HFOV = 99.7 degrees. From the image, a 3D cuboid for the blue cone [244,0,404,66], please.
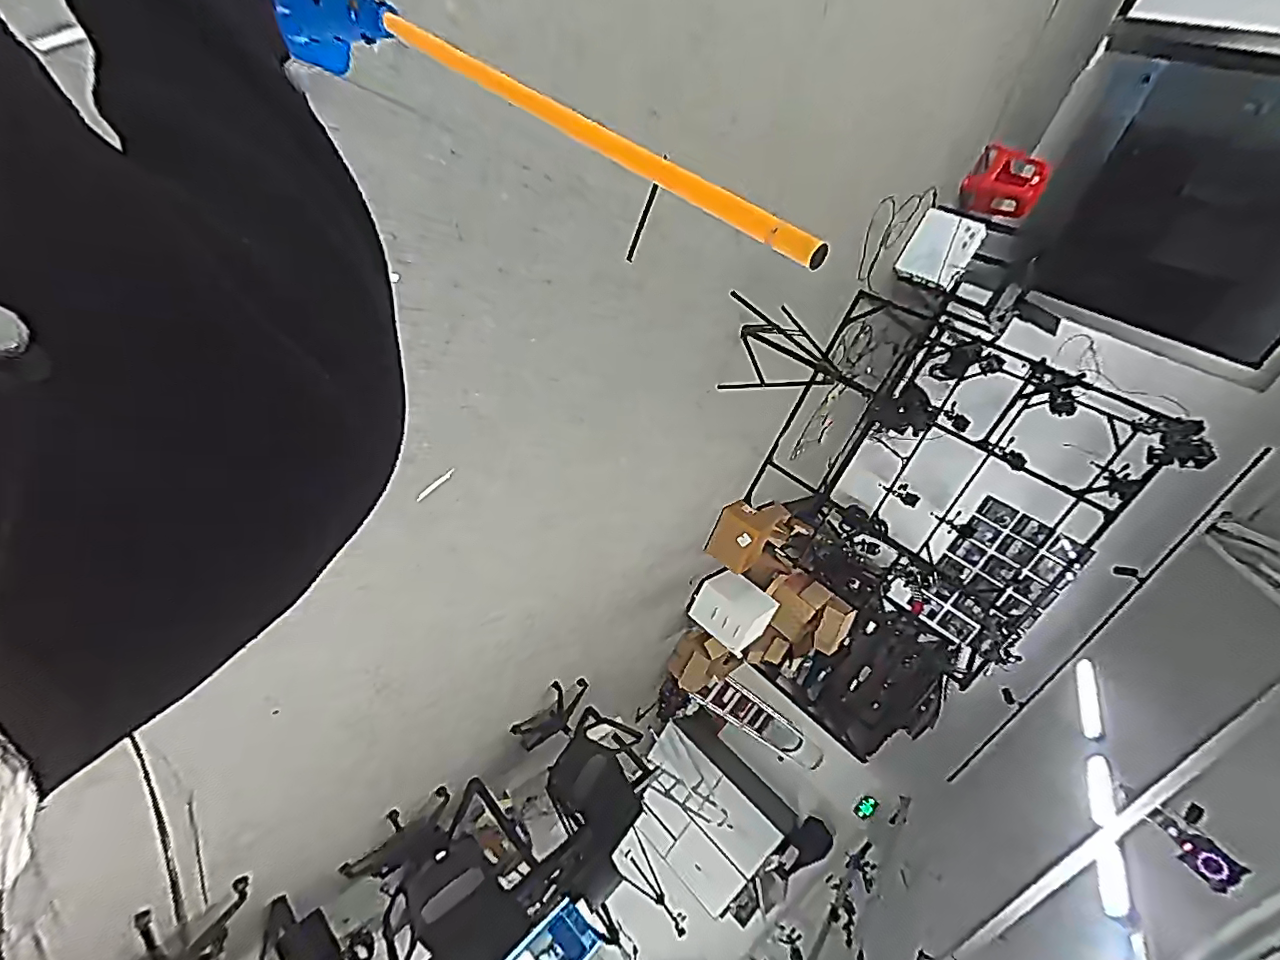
[{"bbox_3d":[-0.524,-0.833,0.947,0.193,0.380,0.192,-13,132,-51],"label":"blue cone"}]
